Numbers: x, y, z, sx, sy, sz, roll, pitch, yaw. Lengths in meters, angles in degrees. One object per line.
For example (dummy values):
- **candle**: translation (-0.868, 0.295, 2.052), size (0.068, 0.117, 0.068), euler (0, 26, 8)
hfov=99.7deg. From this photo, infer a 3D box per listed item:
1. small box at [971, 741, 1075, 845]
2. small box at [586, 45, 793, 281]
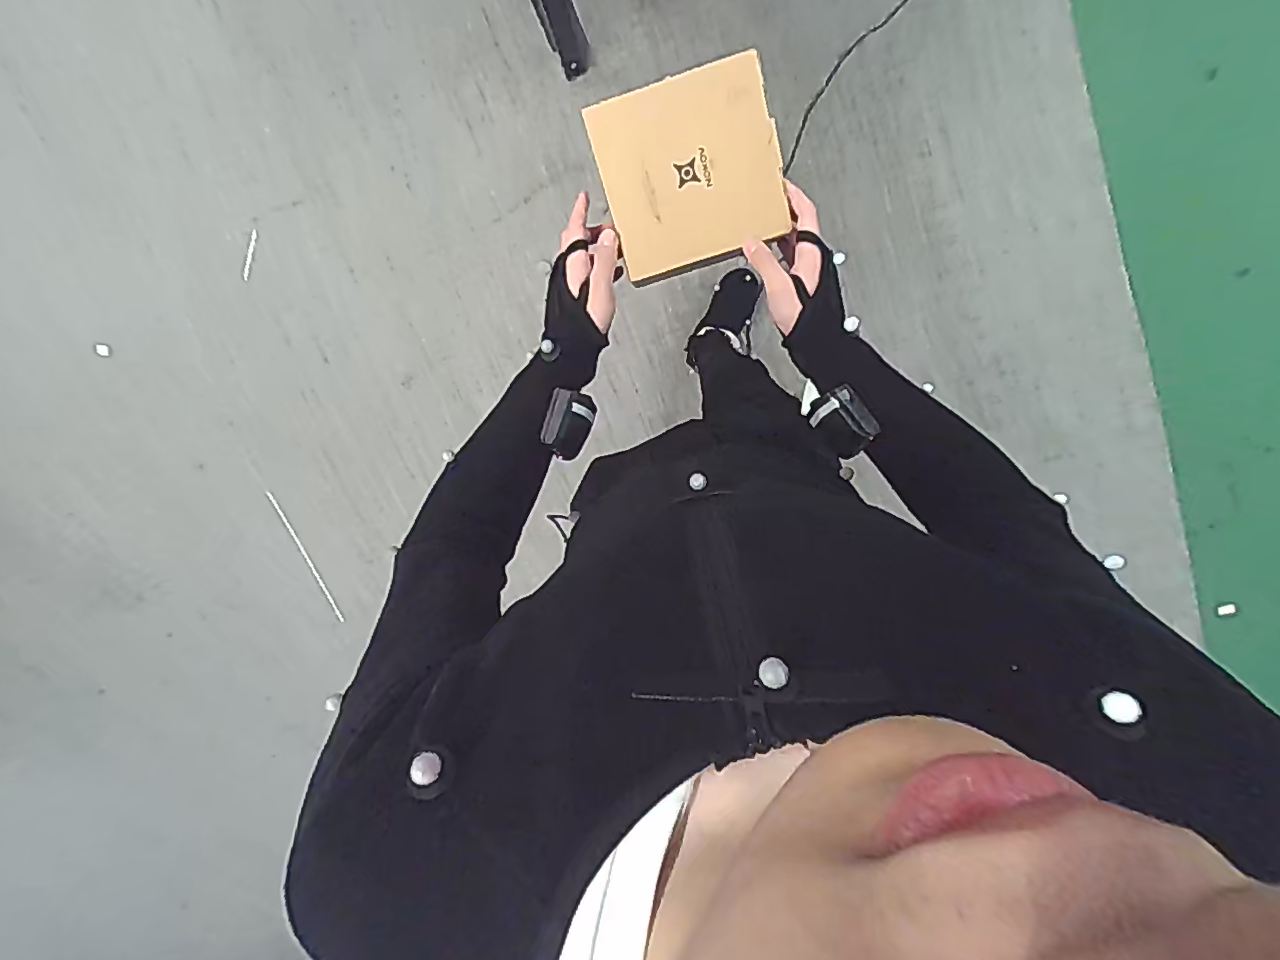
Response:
- **small box**: translation (1.008, 0.826, 1.438), size (0.179, 0.176, 0.168), euler (-10, 102, 6)
- **small box**: translation (0.052, -0.333, 0.607), size (0.179, 0.176, 0.168), euler (-15, 105, 6)
